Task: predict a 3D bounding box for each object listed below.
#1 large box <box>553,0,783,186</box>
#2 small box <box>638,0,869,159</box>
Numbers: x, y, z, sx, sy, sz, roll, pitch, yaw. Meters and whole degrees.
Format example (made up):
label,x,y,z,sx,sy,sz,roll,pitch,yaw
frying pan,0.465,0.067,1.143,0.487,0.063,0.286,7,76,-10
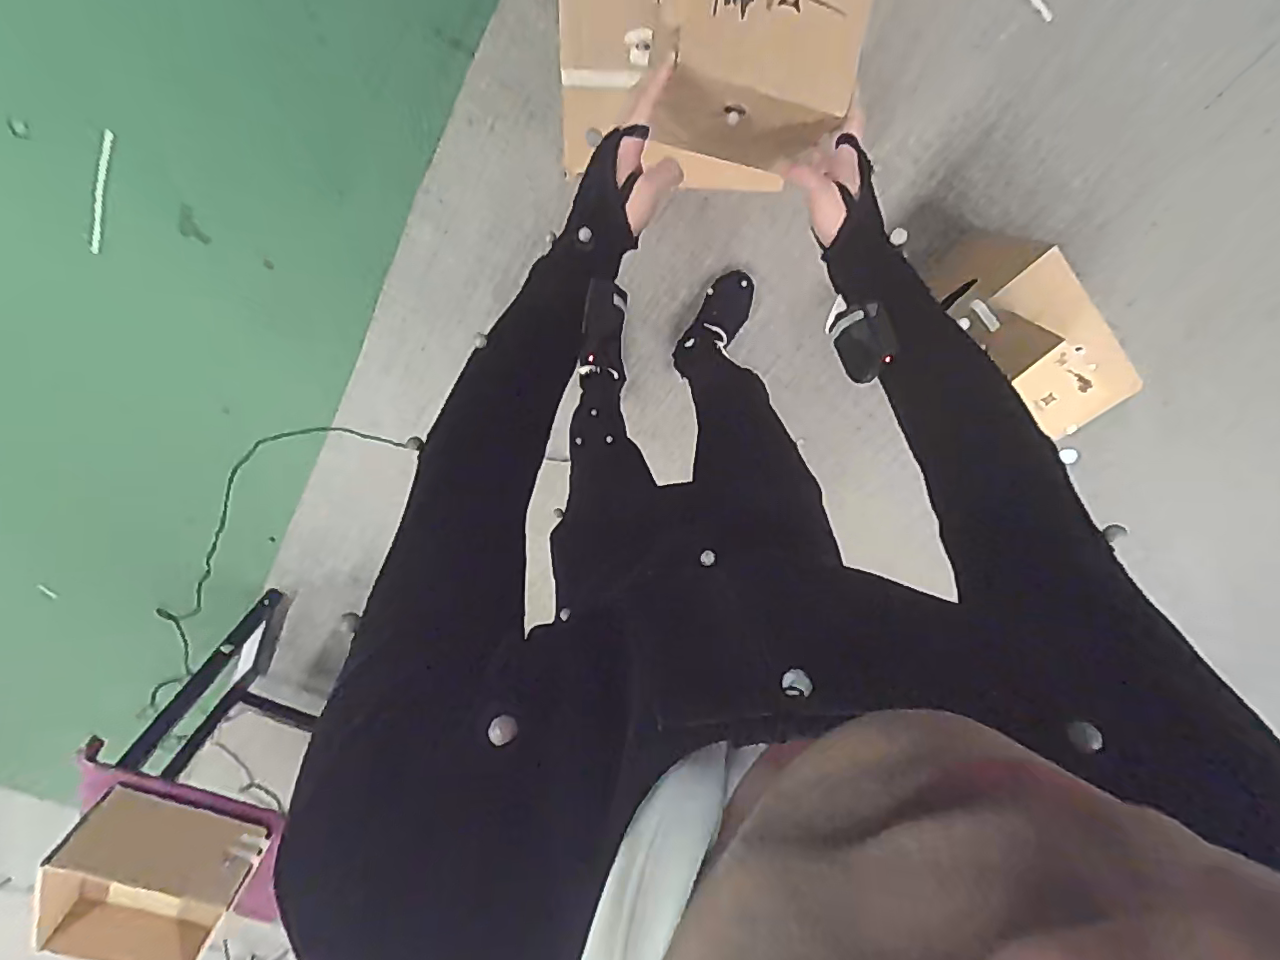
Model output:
label,x,y,z,sx,sy,sz,roll,pitch,yaw
large box,0.064,-0.754,1.033,0.408,0.320,0.320,3,121,1
small box,0.104,-0.450,0.543,0.179,0.176,0.168,6,104,-14
